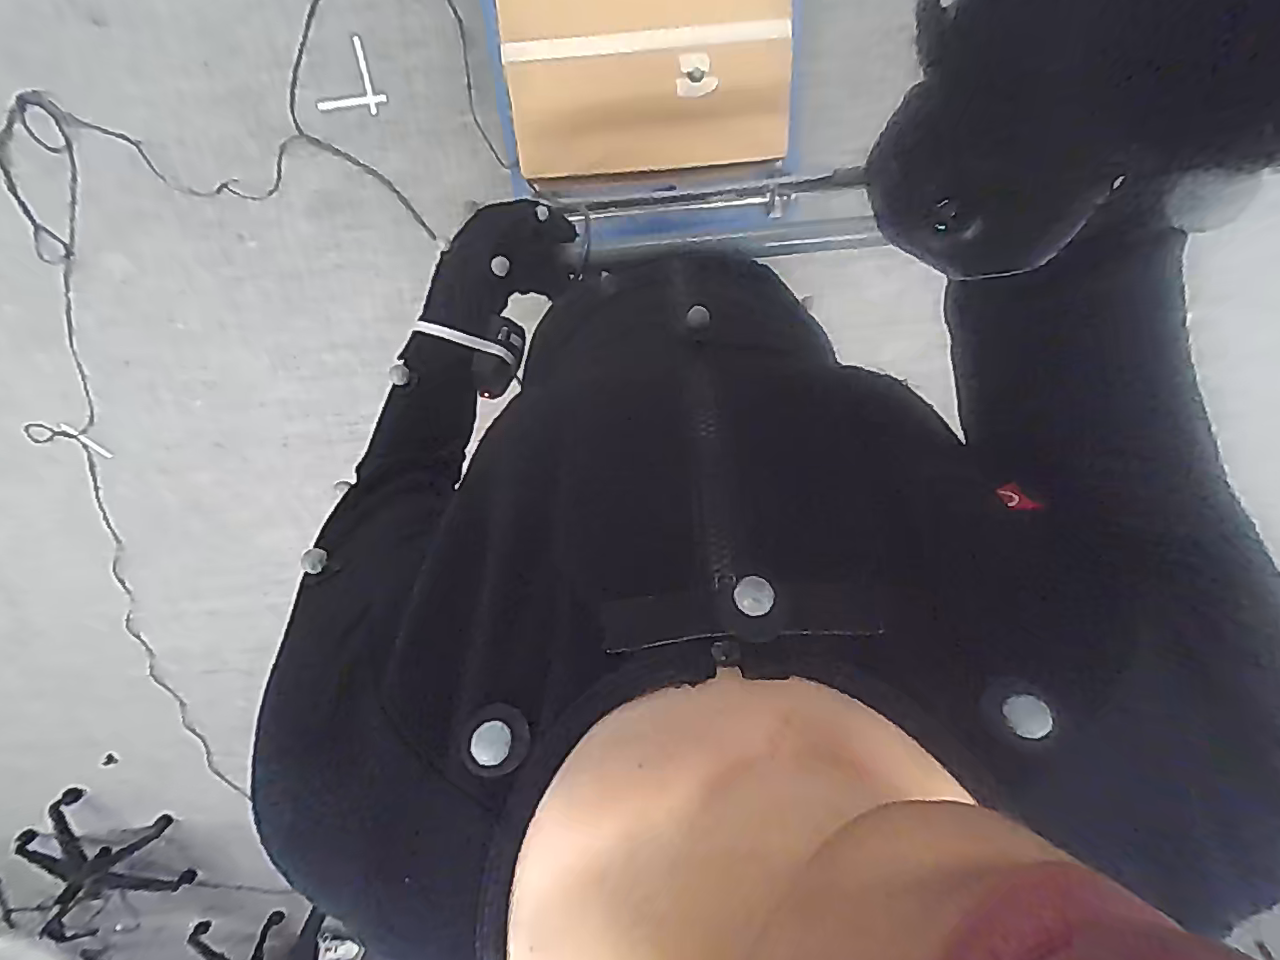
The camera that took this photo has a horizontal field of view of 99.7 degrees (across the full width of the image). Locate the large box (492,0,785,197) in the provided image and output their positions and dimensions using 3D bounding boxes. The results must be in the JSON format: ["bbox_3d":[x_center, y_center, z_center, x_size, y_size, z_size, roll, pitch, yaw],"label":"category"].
[{"bbox_3d":[-0.002,-0.665,0.888,0.408,0.320,0.320,-5,116,0],"label":"large box"}]
